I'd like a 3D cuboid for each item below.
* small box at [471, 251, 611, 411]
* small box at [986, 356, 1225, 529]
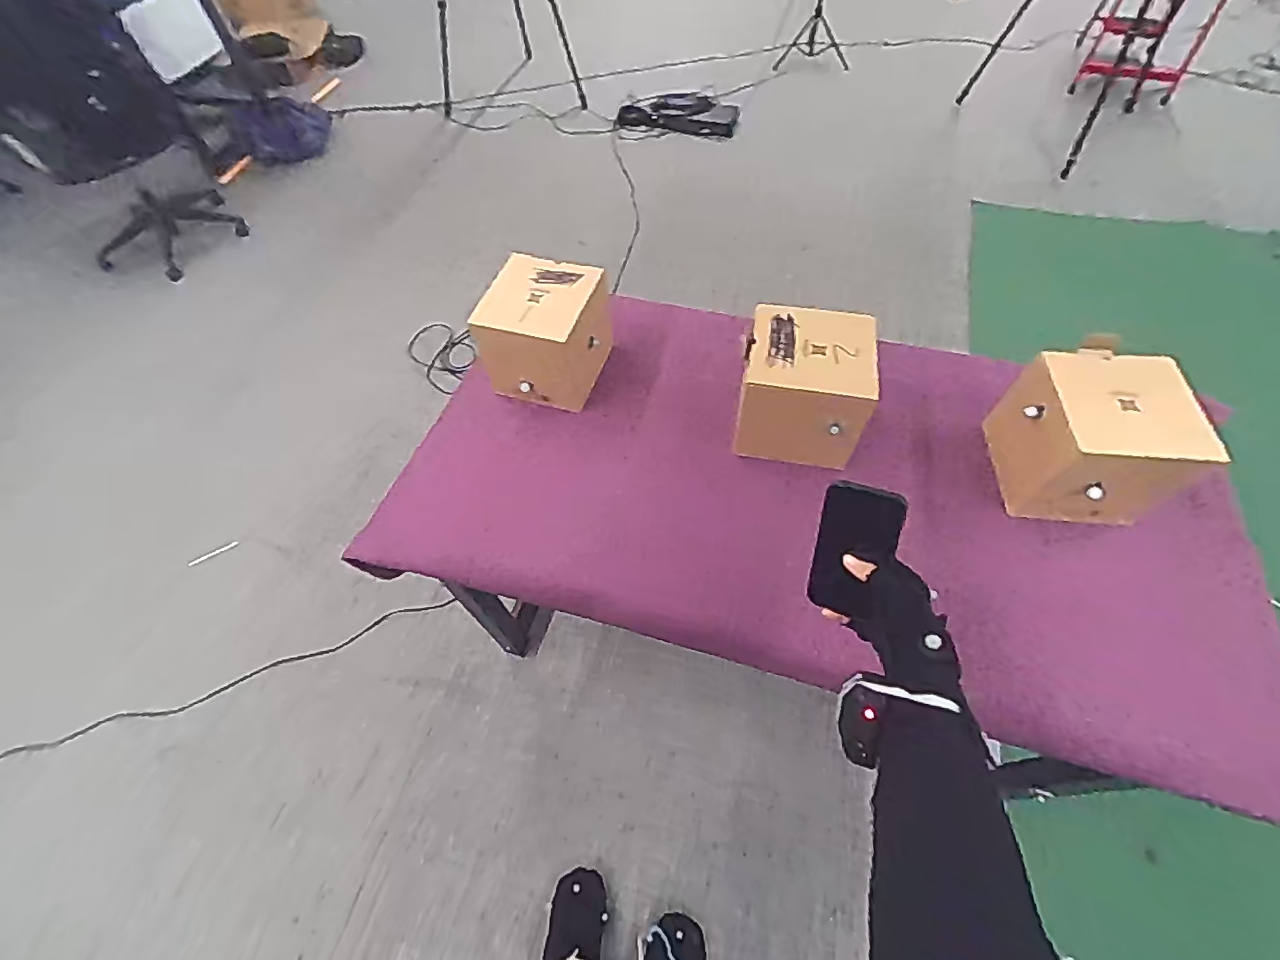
[{"bbox_3d":[-0.153,-0.248,0.911,0.168,0.176,0.179,15,61,12],"label":"small box"},{"bbox_3d":[0.620,-0.047,0.752,0.168,0.176,0.179,5,57,6],"label":"small box"}]
